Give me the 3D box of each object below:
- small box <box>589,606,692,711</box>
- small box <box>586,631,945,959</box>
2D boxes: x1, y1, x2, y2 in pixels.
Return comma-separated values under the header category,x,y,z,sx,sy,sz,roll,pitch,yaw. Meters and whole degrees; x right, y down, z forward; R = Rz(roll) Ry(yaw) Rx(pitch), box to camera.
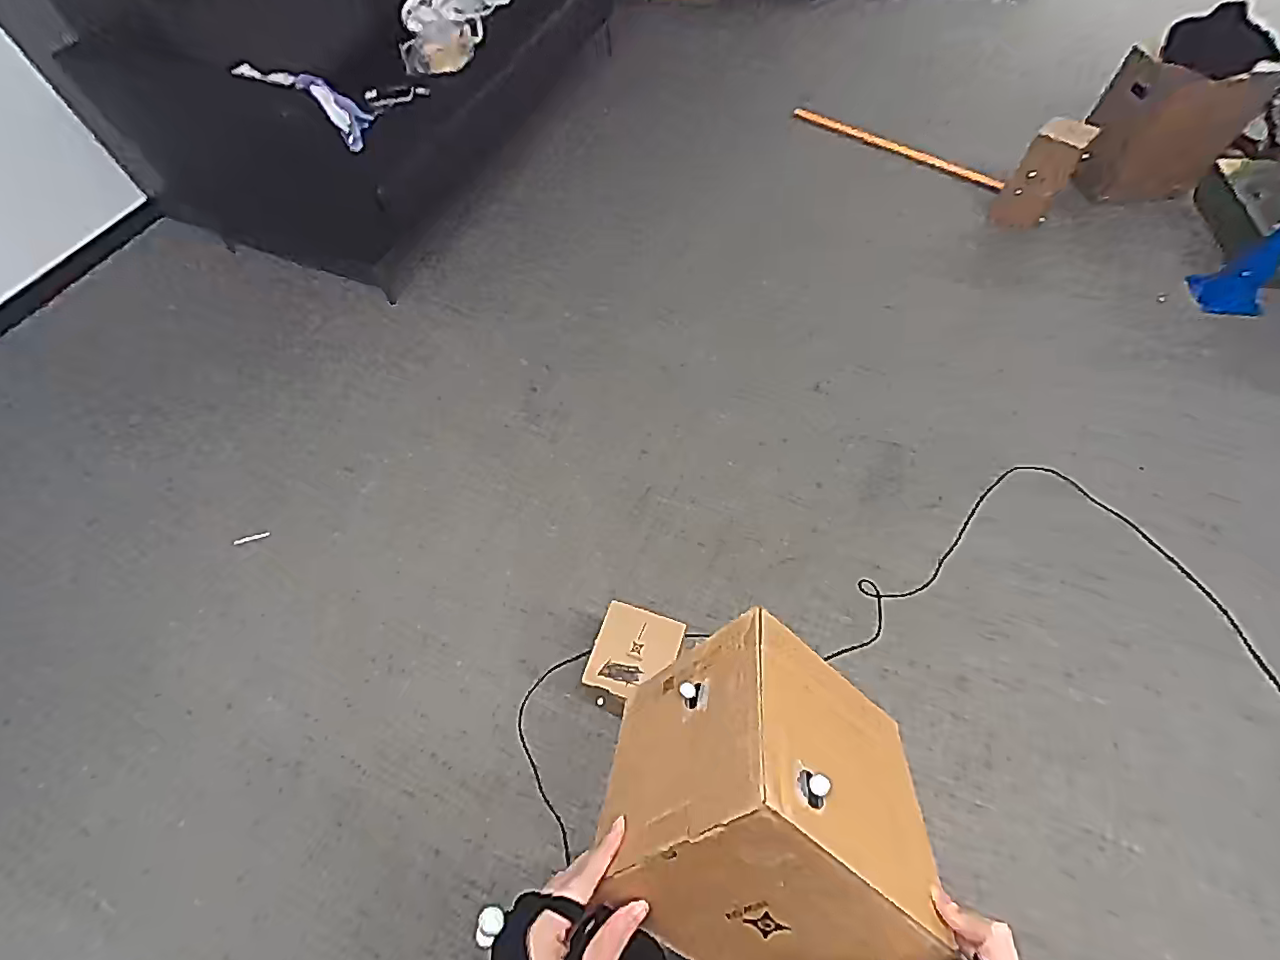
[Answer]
category,x,y,z,sx,sy,sz,roll,pitch,yaw
small box,0.009,0.397,1.152,0.168,0.176,0.179,15,61,12
small box,0.092,0.256,0.425,0.179,0.168,0.176,41,26,-8
